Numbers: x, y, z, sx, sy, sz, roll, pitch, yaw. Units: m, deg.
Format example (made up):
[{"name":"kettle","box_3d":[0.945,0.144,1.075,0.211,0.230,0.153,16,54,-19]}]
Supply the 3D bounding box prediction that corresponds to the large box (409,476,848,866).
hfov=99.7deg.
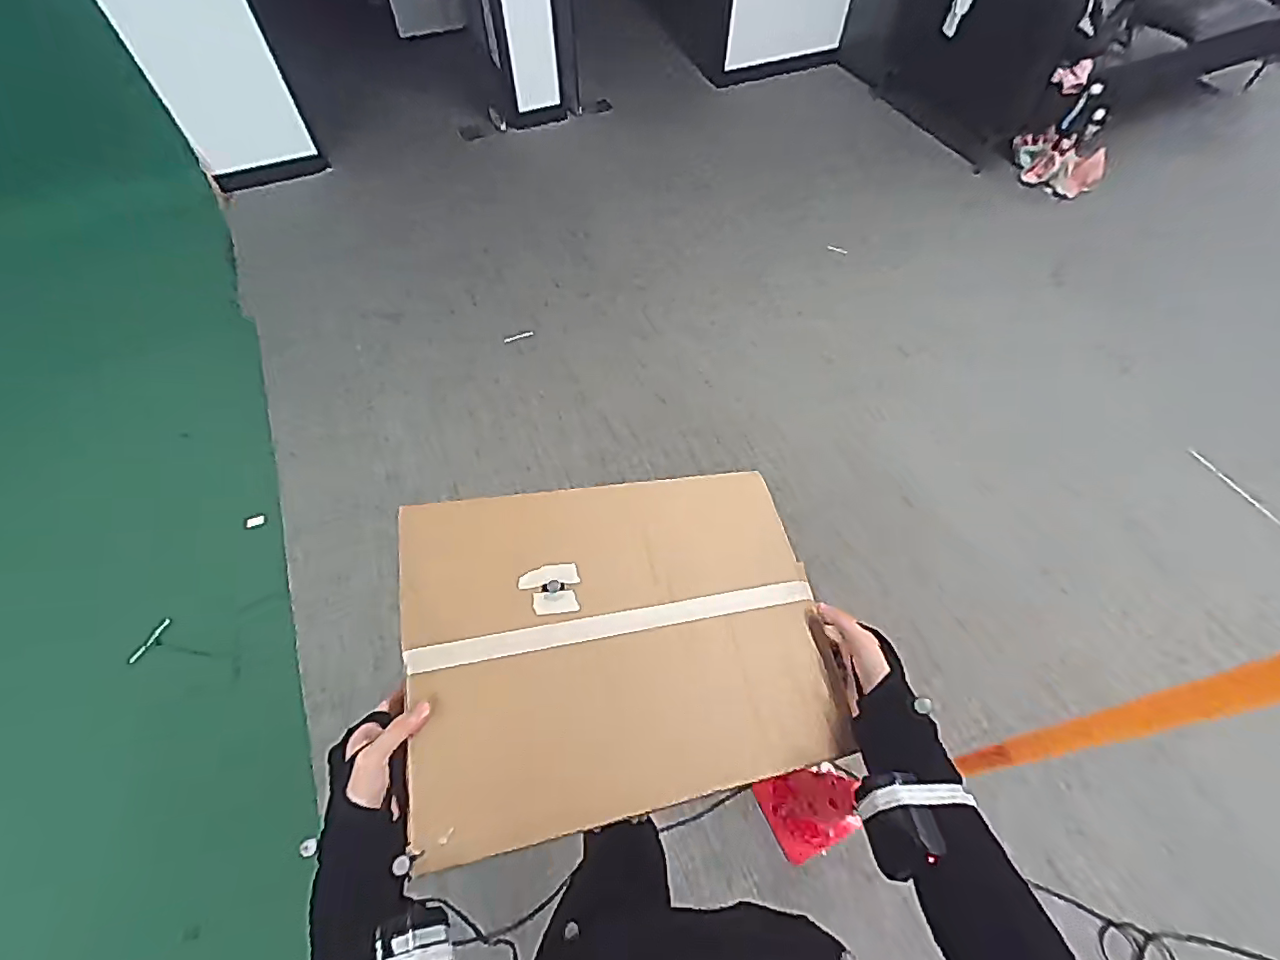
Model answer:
[{"name":"large box","box_3d":[-0.041,0.220,0.671,0.408,0.320,0.320,-6,62,-15]}]
